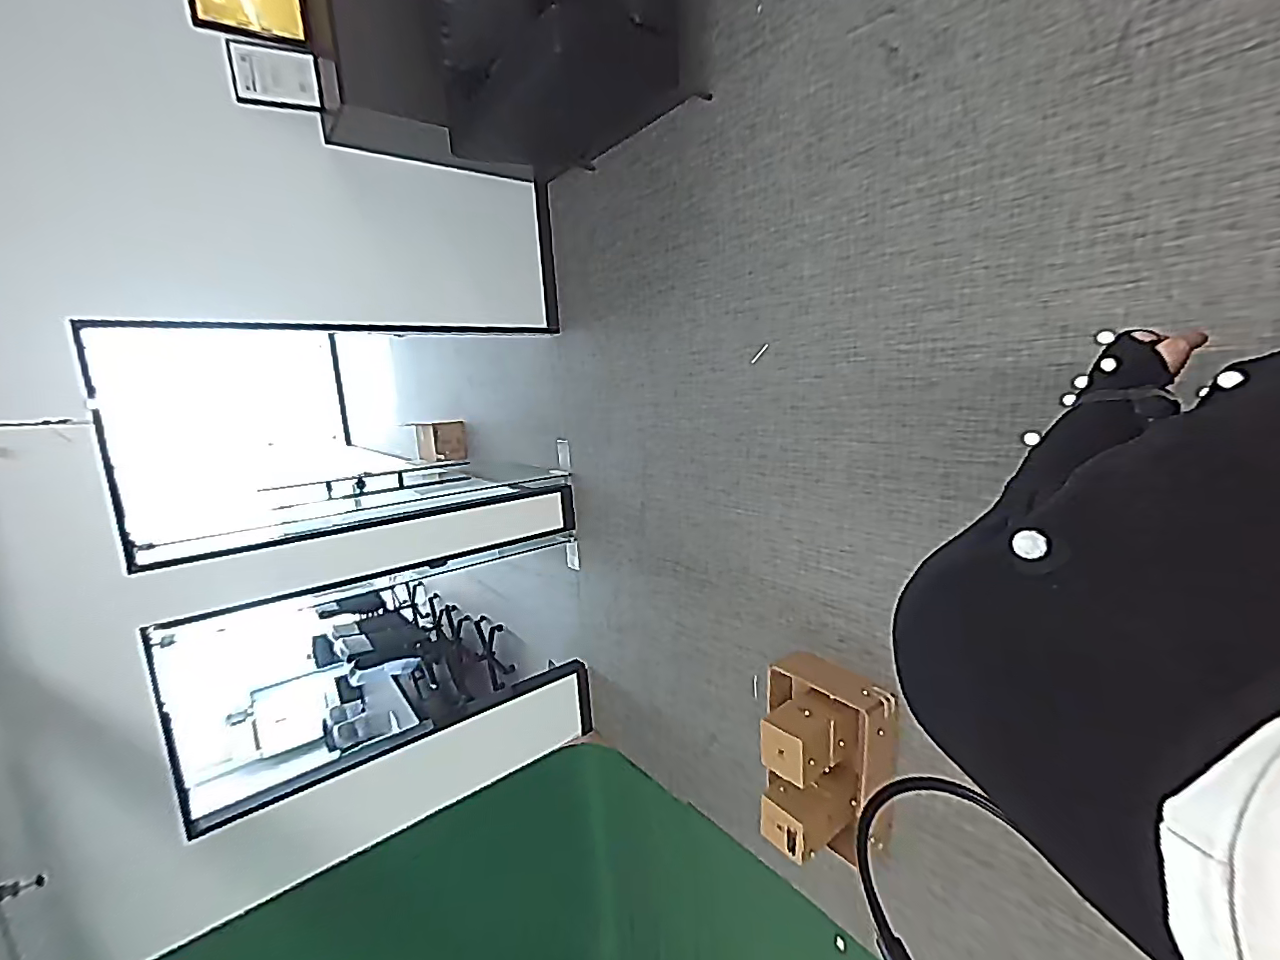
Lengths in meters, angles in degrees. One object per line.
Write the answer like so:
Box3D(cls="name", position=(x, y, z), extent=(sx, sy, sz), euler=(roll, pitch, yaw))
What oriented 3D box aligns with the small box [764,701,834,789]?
Box3D(cls="small box", position=(0.536, 0.885, 1.820), extent=(0.168, 0.176, 0.179), euler=(9, 106, 50))
